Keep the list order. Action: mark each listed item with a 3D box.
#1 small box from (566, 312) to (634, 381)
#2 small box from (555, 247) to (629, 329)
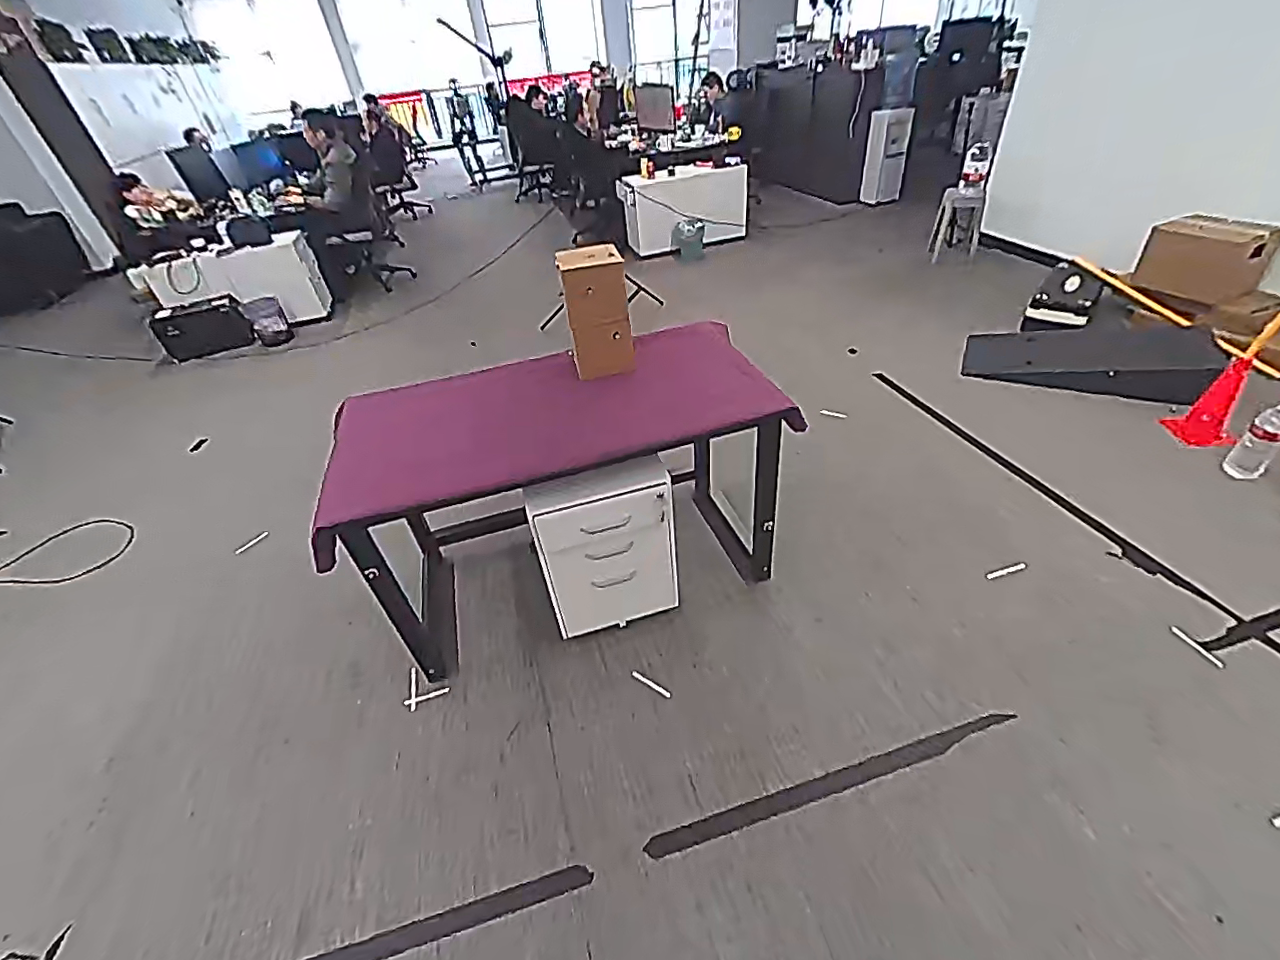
[{"bbox_3d":[-0.121,-0.425,1.666,0.179,0.176,0.168,-13,40,-6],"label":"small box"},{"bbox_3d":[-0.138,-0.552,1.563,0.179,0.176,0.168,-12,40,-5],"label":"small box"}]
